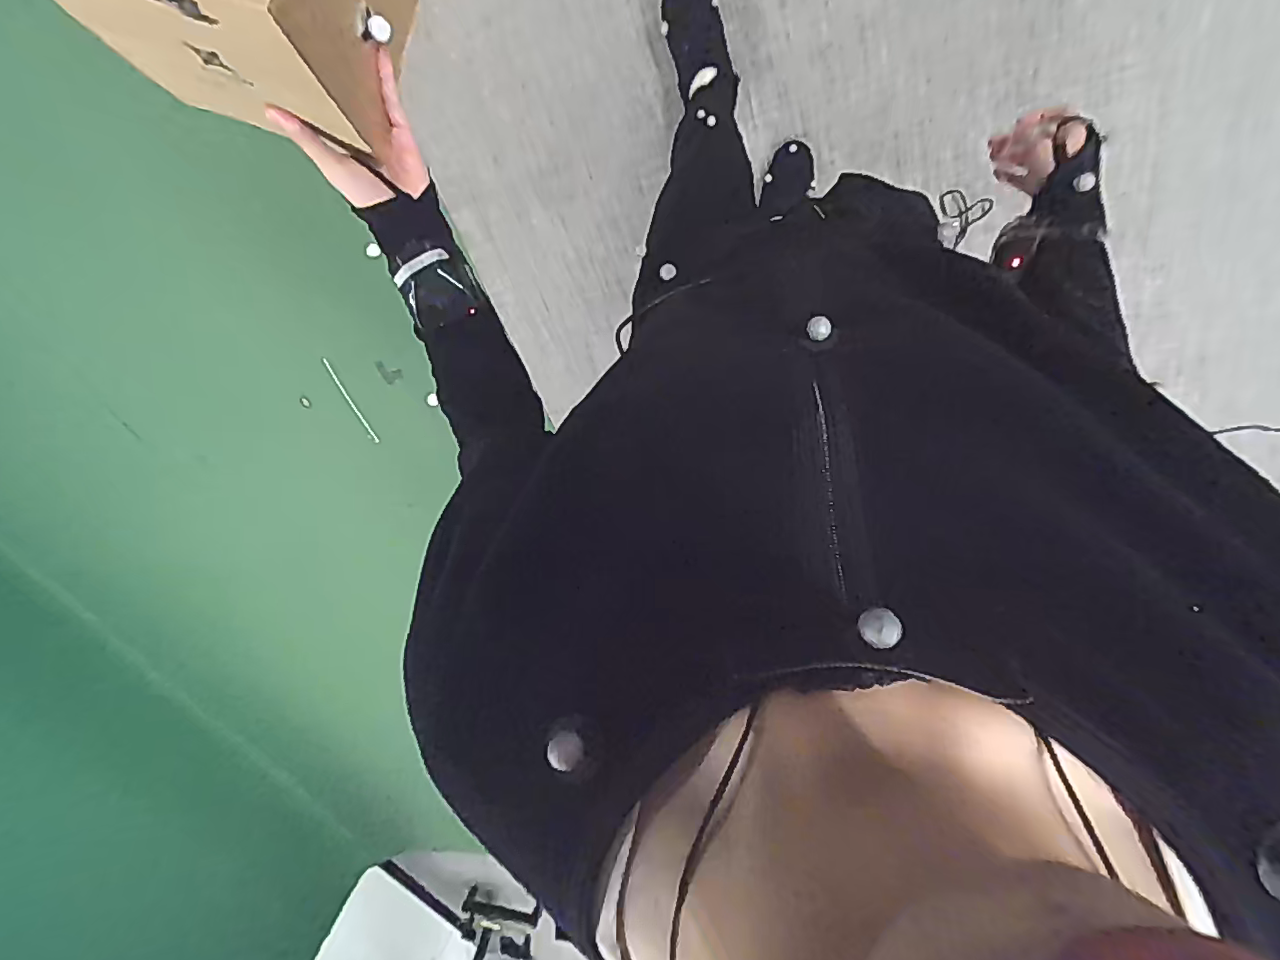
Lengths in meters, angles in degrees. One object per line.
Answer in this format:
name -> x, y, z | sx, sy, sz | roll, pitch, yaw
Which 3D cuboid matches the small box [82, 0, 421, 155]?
small box -> -0.257, -0.365, 0.357 | 0.168, 0.179, 0.176 | 15, 93, -7
